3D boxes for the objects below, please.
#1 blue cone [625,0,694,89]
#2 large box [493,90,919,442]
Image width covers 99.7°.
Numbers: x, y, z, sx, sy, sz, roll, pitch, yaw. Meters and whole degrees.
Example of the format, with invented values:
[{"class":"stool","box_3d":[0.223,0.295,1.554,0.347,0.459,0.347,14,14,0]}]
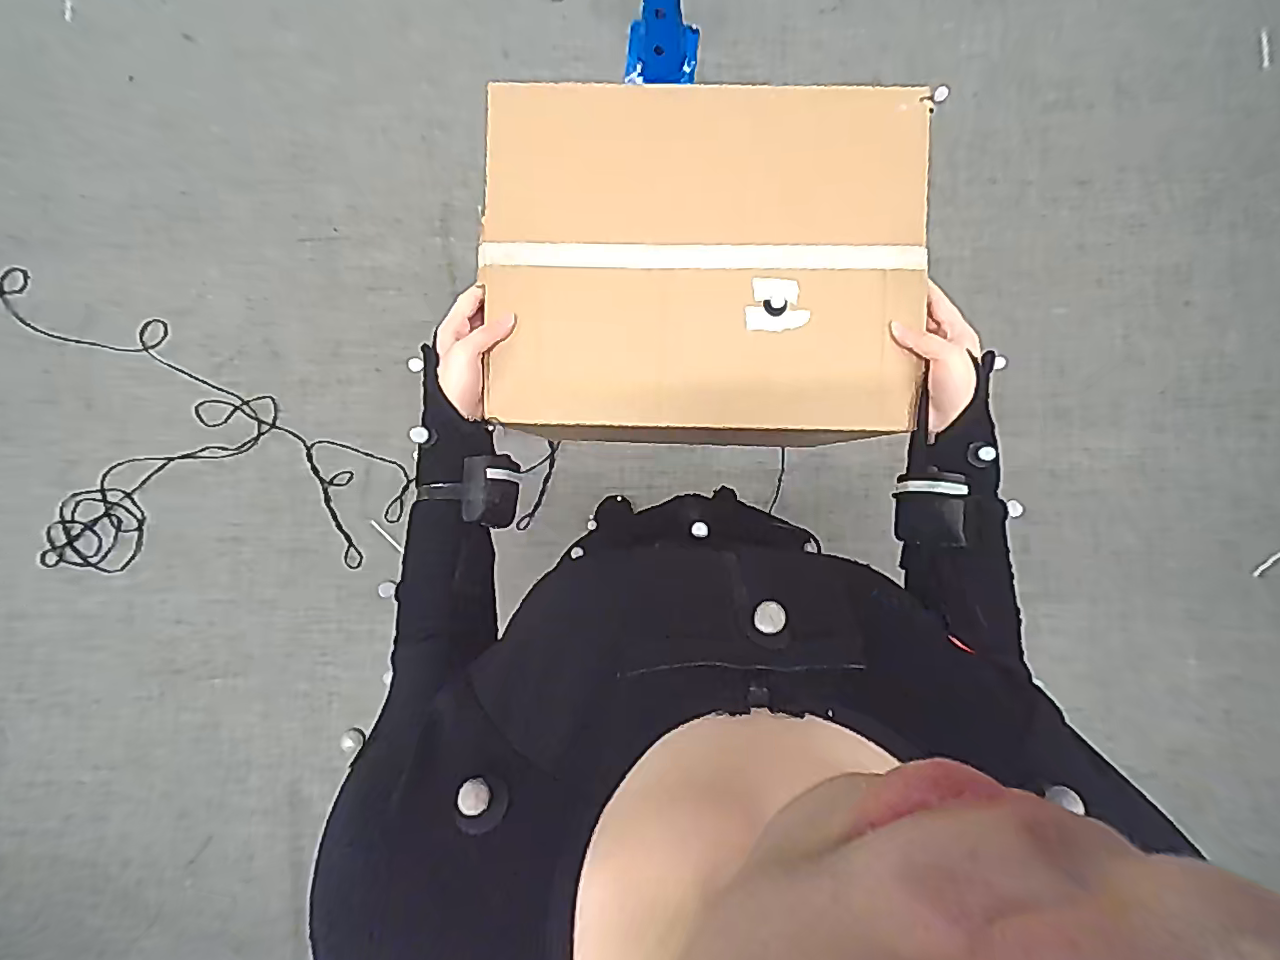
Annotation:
[{"class":"blue cone","box_3d":[0.050,-1.230,1.394,0.193,0.380,0.192,8,88,2]},{"class":"large box","box_3d":[0.059,-0.211,0.654,0.408,0.320,0.320,1,91,0]}]
